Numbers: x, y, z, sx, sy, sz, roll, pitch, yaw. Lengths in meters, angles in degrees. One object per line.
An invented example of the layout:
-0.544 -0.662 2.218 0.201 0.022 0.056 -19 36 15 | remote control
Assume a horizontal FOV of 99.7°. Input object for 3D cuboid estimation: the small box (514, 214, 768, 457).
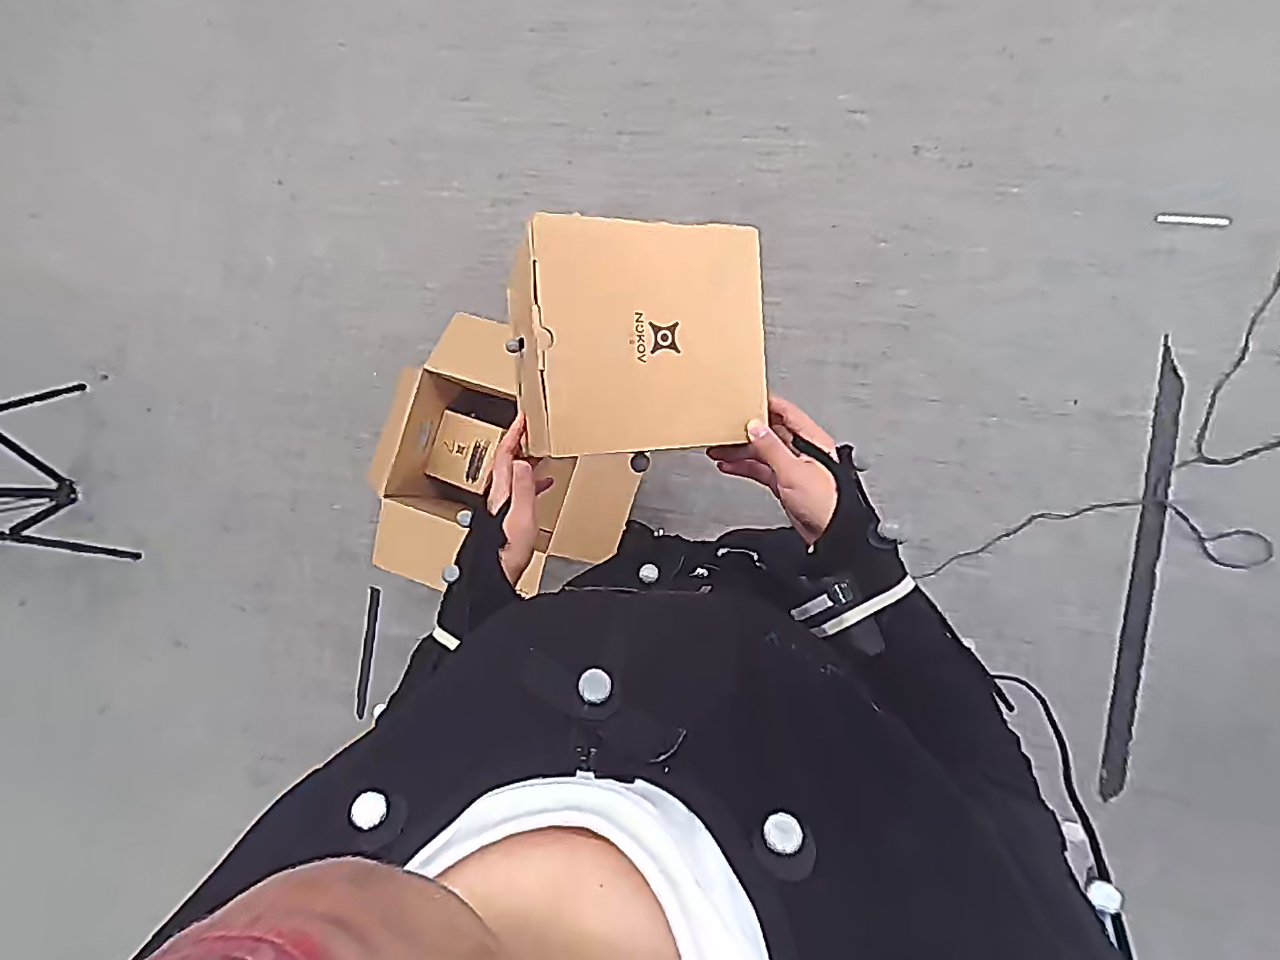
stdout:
-0.009 -0.109 0.471 0.179 0.176 0.168 -5 95 -18 | small box
